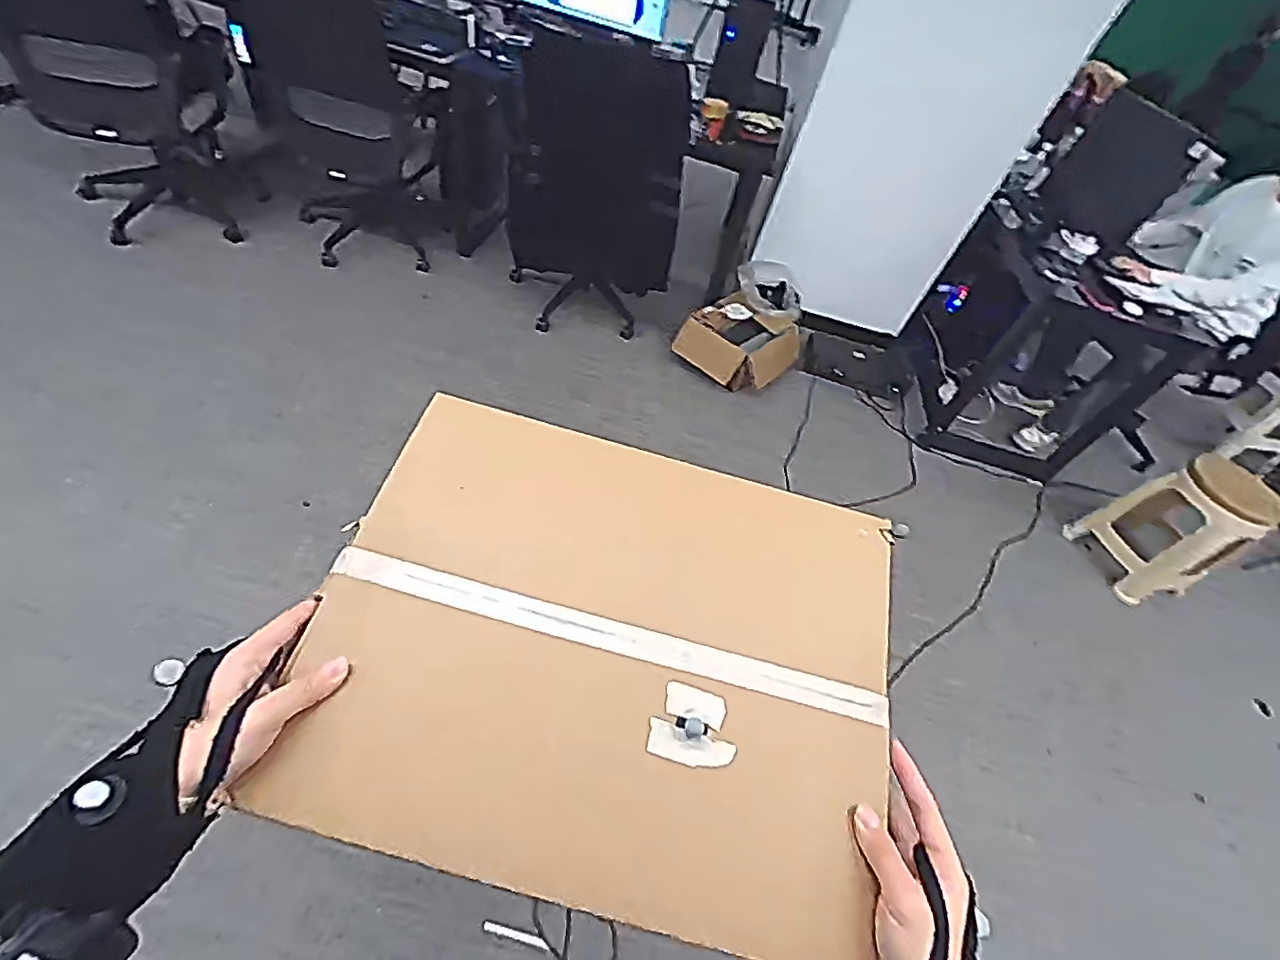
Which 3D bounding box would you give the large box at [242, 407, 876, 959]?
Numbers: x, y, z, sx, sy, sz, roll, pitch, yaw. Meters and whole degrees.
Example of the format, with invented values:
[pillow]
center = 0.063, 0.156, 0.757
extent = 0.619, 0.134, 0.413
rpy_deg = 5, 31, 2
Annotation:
[large box]
center = -0.040, 0.182, 0.530
extent = 0.408, 0.320, 0.320
rpy_deg = 16, 62, 0
